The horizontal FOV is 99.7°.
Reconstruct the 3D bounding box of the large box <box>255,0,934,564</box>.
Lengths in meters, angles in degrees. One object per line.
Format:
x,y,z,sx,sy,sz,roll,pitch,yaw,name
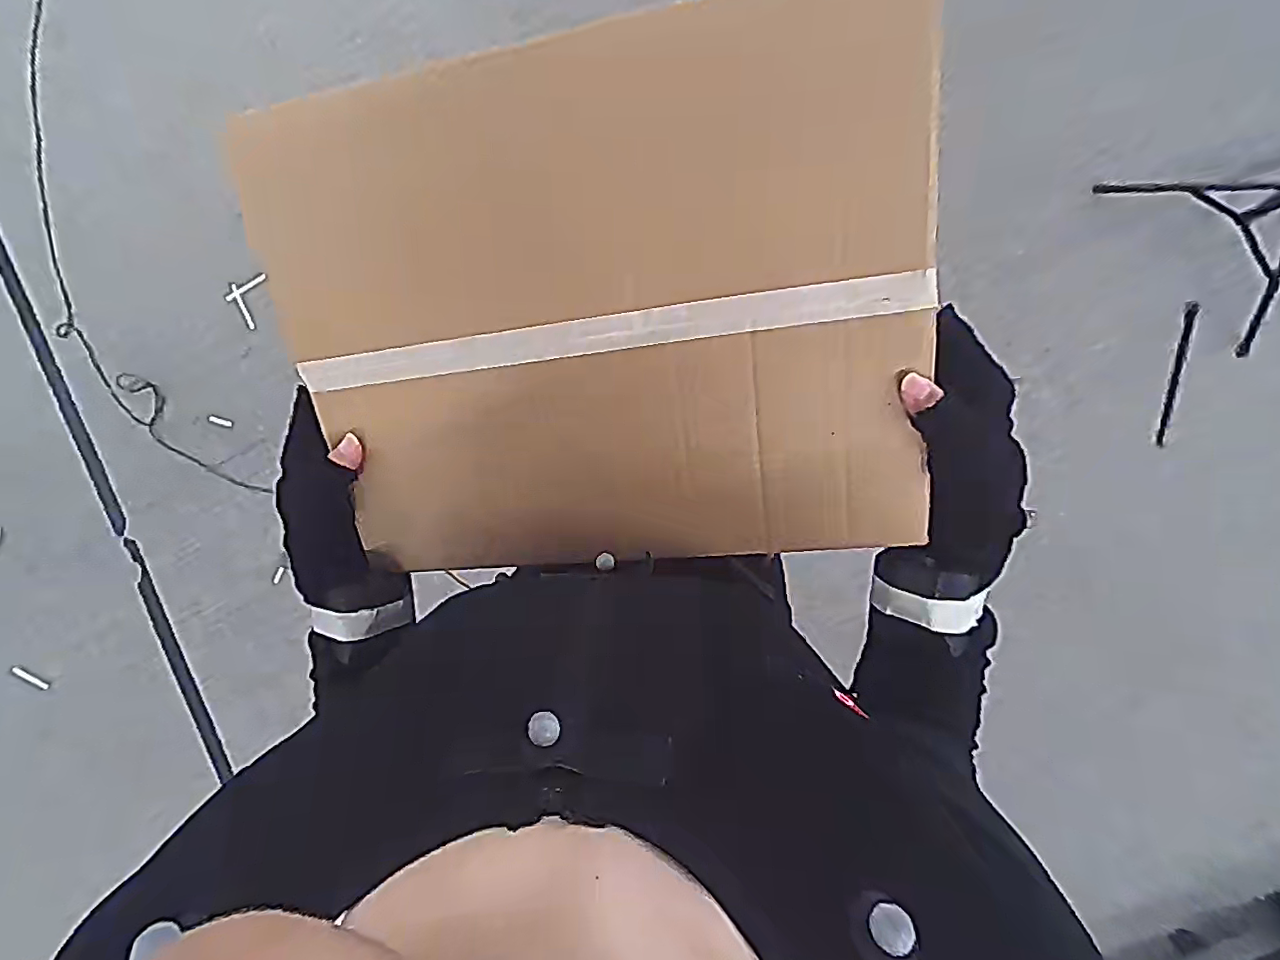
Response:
-0.007,-0.143,0.485,0.408,0.320,0.320,-5,110,11,large box
